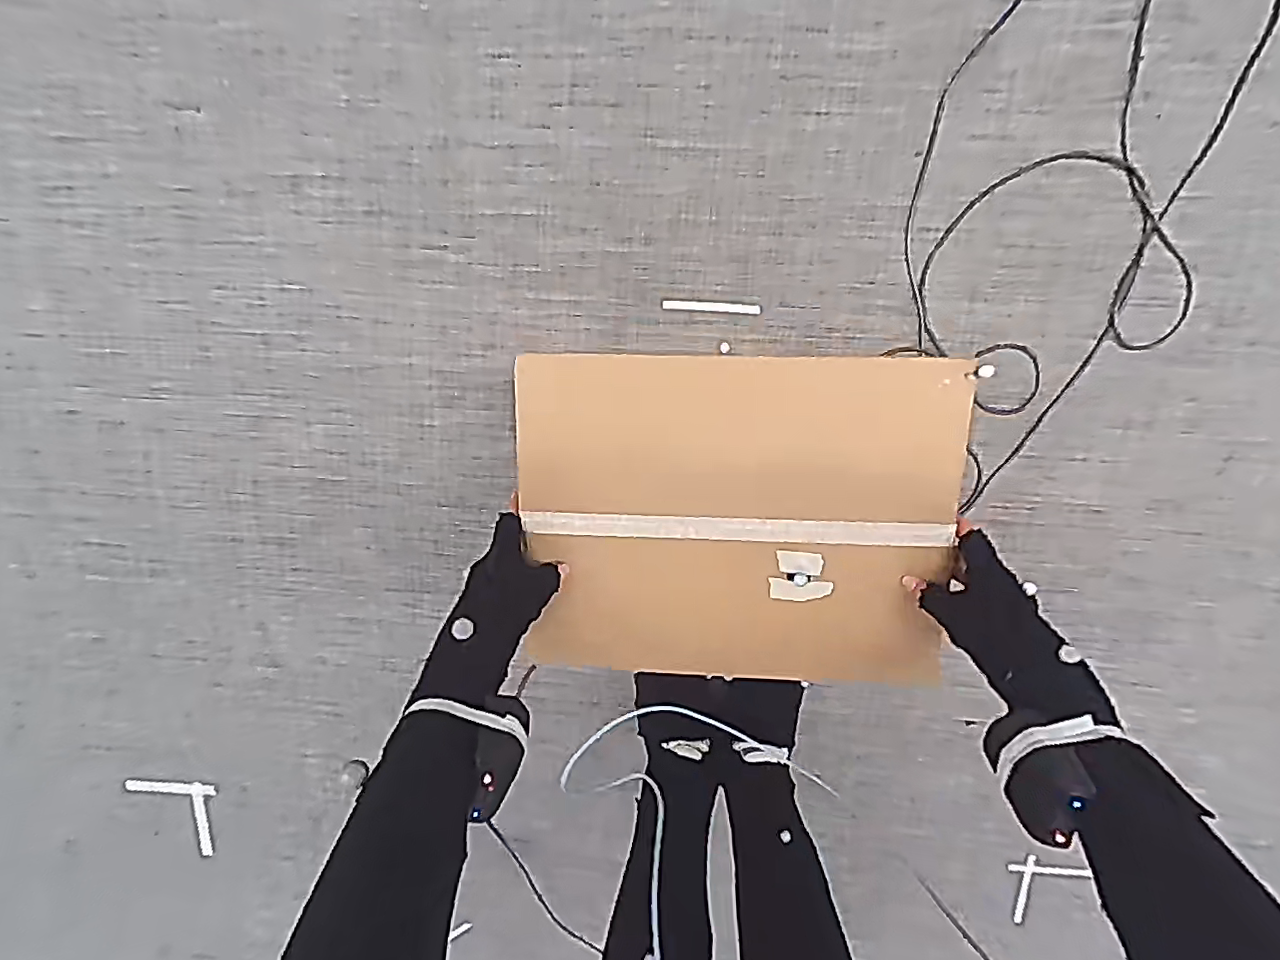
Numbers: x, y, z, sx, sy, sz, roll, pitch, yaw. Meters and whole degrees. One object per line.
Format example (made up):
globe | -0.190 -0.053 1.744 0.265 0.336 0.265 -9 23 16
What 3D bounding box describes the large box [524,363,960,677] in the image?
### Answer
large box | 0.098 0.018 0.670 0.408 0.320 0.320 1 103 4
